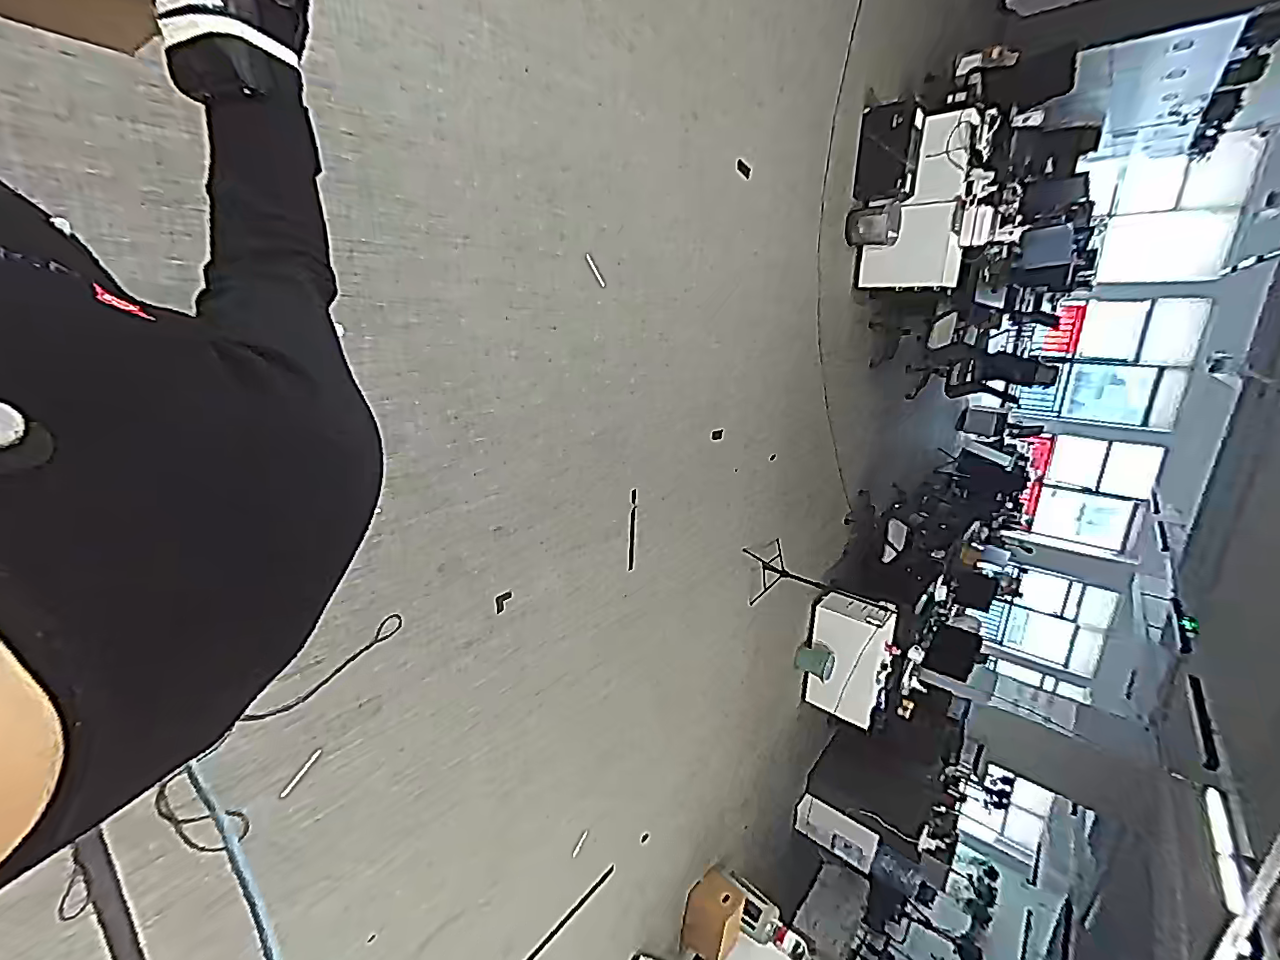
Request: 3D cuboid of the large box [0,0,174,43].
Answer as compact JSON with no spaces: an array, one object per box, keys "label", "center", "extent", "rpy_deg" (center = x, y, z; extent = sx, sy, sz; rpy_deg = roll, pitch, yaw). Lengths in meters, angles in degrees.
[{"label":"large box","center":[-0.521,-0.492,0.262],"extent":[0.408,0.320,0.320],"rpy_deg":[-16,122,-47]}]
